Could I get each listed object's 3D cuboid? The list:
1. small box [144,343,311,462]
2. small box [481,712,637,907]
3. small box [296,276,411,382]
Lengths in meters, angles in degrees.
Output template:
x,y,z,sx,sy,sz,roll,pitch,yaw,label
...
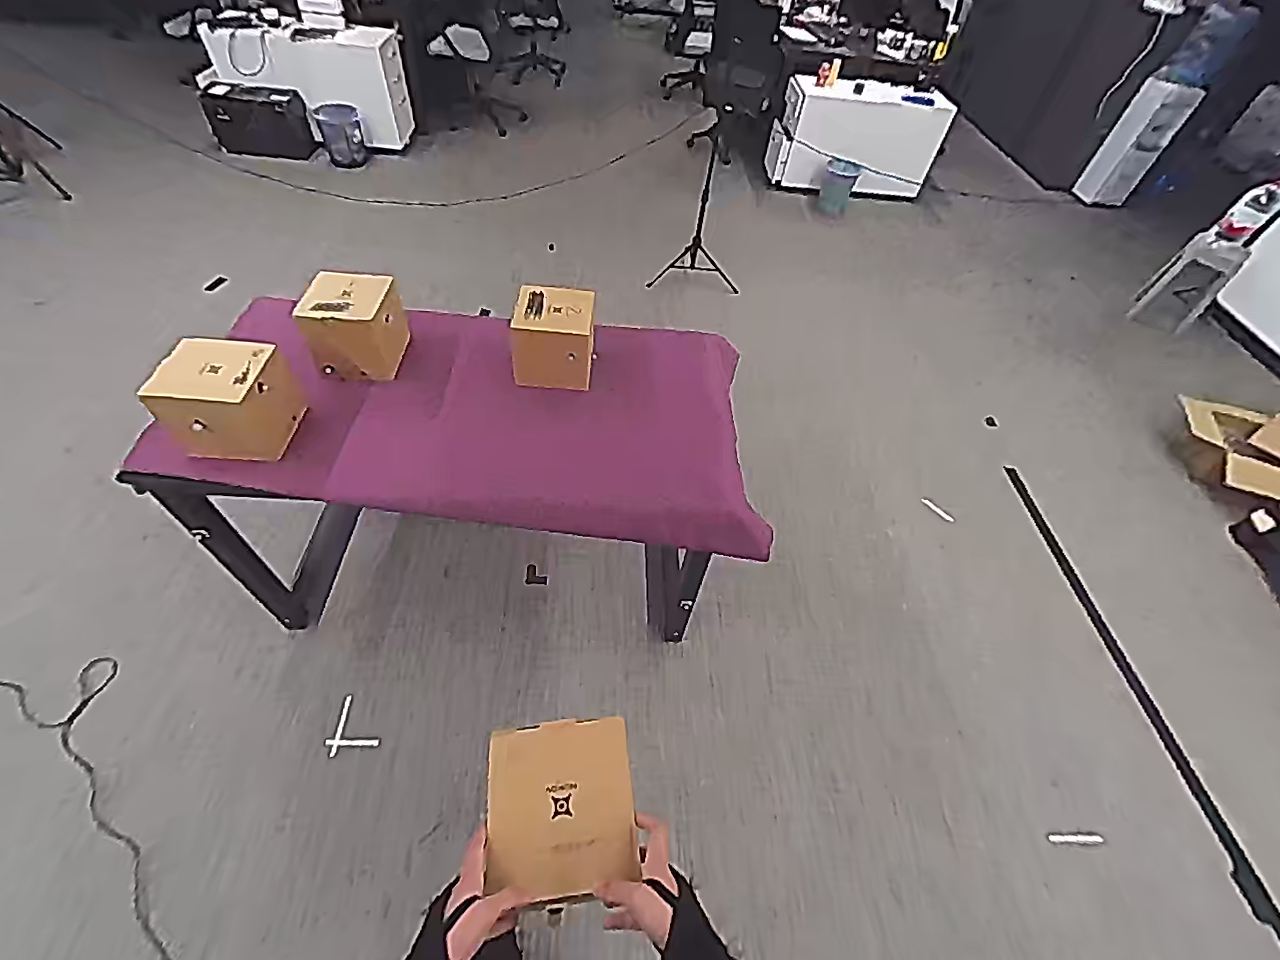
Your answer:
x,y,z,sx,sy,sz,roll,pitch,yaw,label
-0.799,-0.150,1.072,0.179,0.176,0.168,3,51,-4,small box
-0.100,0.413,0.678,0.168,0.176,0.179,-3,51,-8,small box
-0.648,-0.346,1.251,0.168,0.176,0.179,3,51,-5,small box
